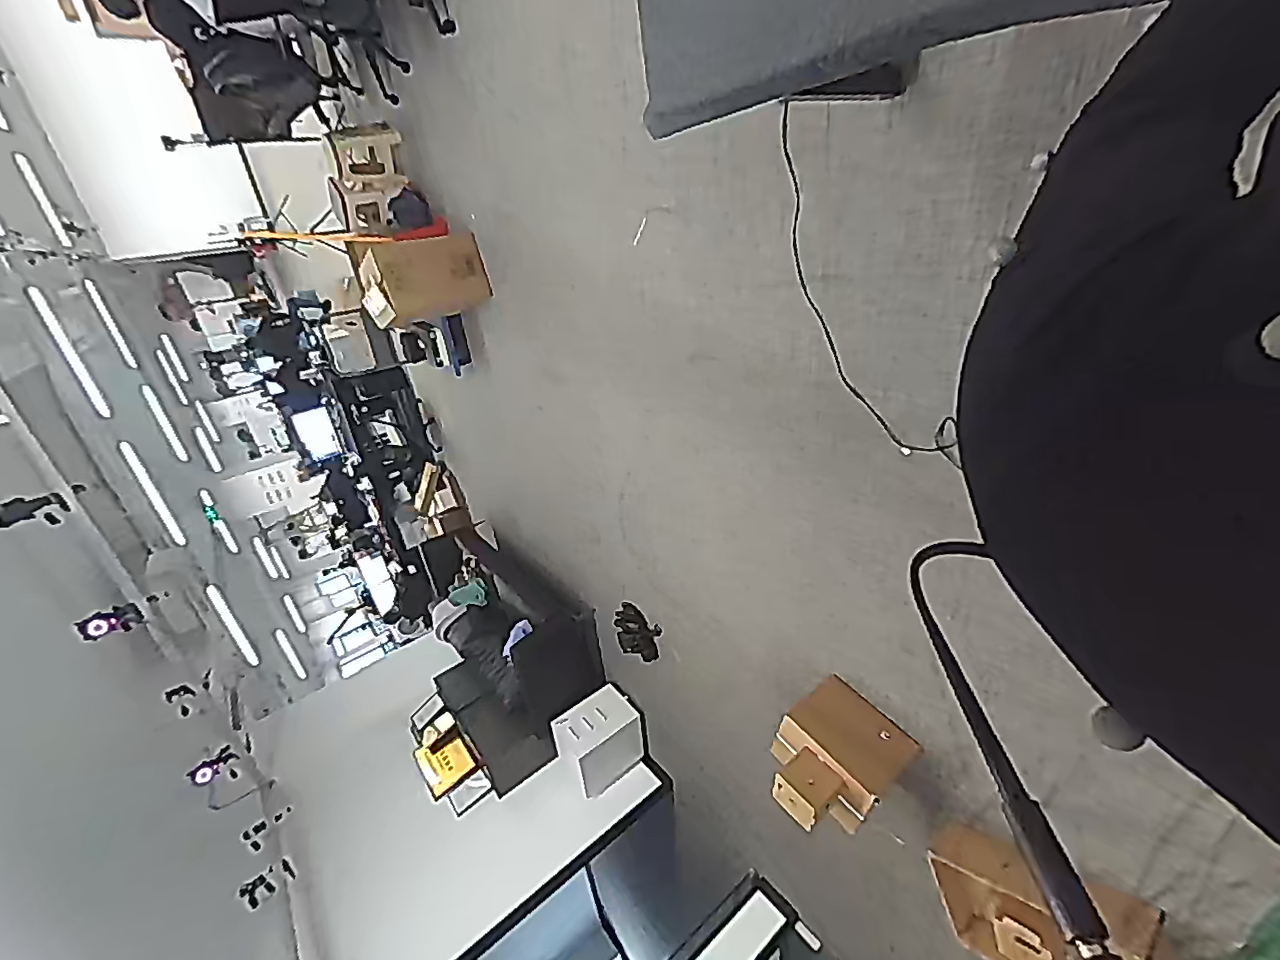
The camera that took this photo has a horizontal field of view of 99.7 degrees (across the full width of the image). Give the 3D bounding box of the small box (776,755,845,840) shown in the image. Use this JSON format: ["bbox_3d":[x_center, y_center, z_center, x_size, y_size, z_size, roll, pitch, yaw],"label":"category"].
[{"bbox_3d":[0.632,1.170,2.005,0.179,0.176,0.168,32,135,42],"label":"small box"}]

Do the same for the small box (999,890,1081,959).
[{"bbox_3d":[1.286,1.482,1.736,0.168,0.176,0.179,3,115,55],"label":"small box"}]
